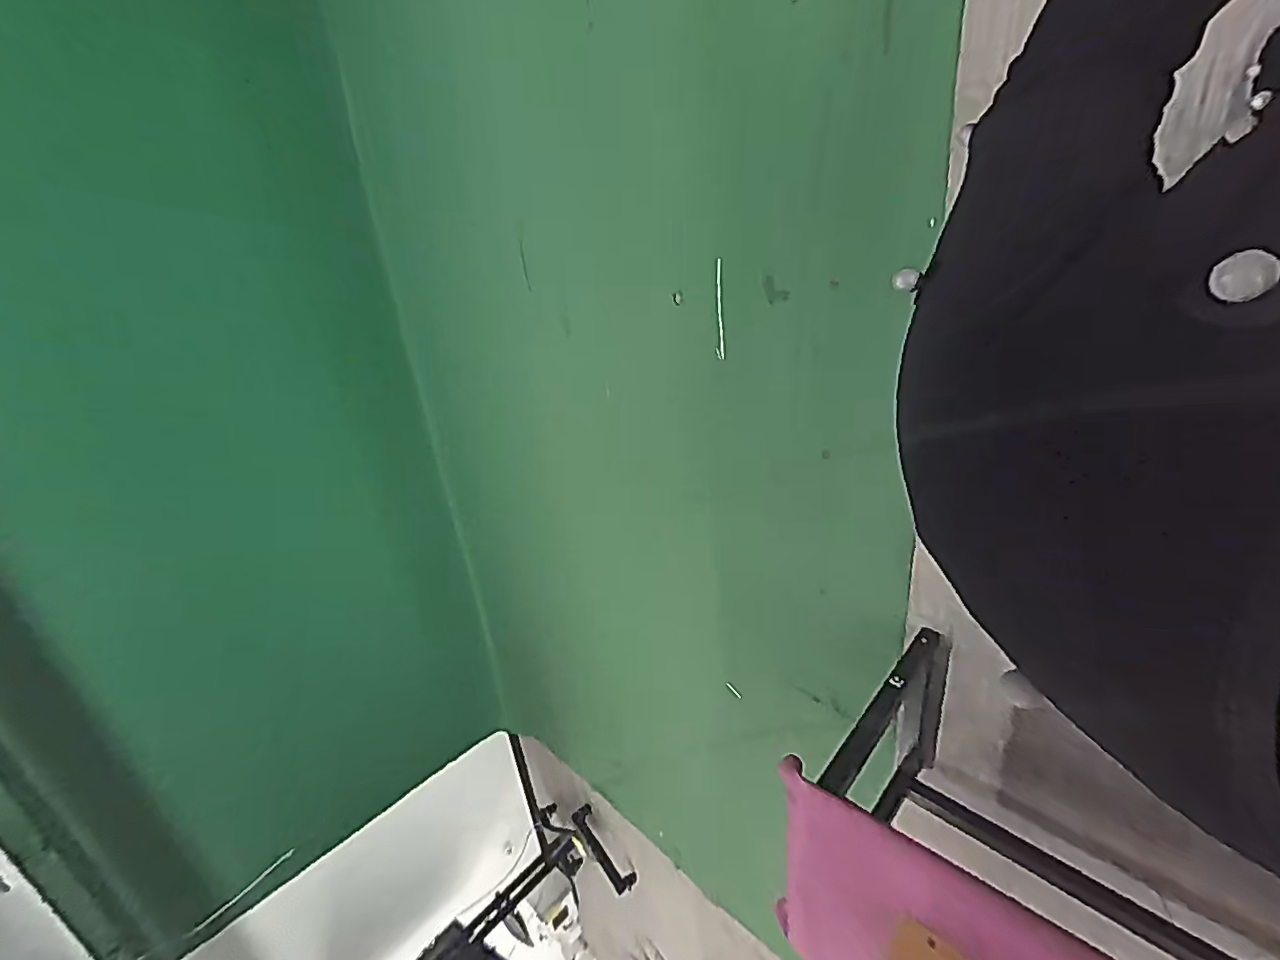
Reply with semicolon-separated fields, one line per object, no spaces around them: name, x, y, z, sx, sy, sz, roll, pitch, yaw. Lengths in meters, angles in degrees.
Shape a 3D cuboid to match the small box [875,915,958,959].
small box;0.520;0.982;1.014;0.168;0.176;0.179;23;126;41
